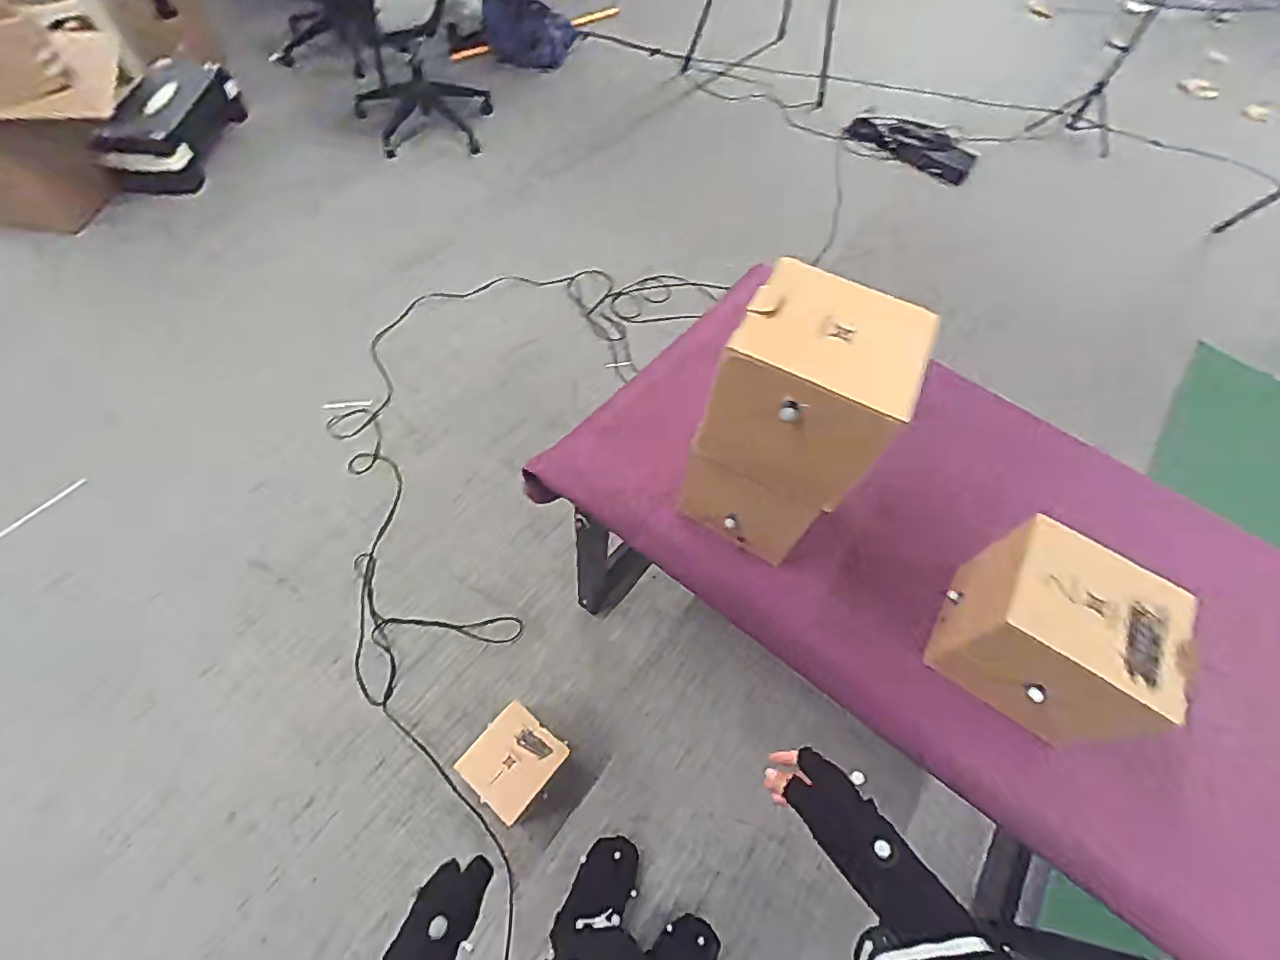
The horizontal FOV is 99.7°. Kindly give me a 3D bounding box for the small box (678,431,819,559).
[{"bbox_3d":[0.167,-0.025,0.745,0.168,0.176,0.179,31,59,12],"label":"small box"}]

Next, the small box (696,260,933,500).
[{"bbox_3d":[0.183,-0.101,0.601,0.179,0.176,0.168,26,59,9],"label":"small box"}]
